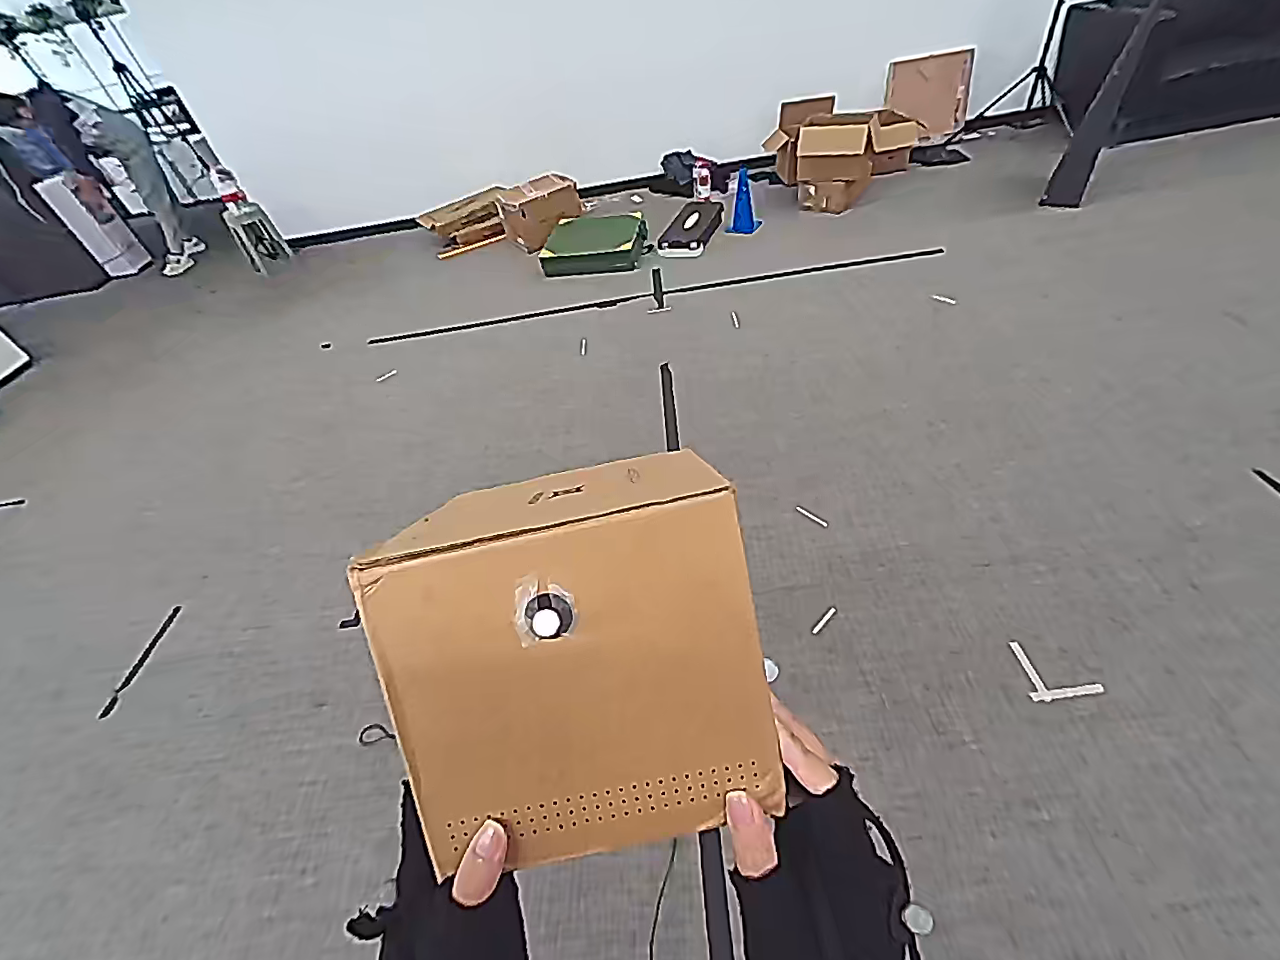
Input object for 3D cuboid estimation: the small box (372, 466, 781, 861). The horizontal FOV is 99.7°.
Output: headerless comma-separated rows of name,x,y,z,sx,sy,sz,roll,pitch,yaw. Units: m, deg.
small box,-0.027,0.098,0.342,0.179,0.176,0.168,-12,9,1
